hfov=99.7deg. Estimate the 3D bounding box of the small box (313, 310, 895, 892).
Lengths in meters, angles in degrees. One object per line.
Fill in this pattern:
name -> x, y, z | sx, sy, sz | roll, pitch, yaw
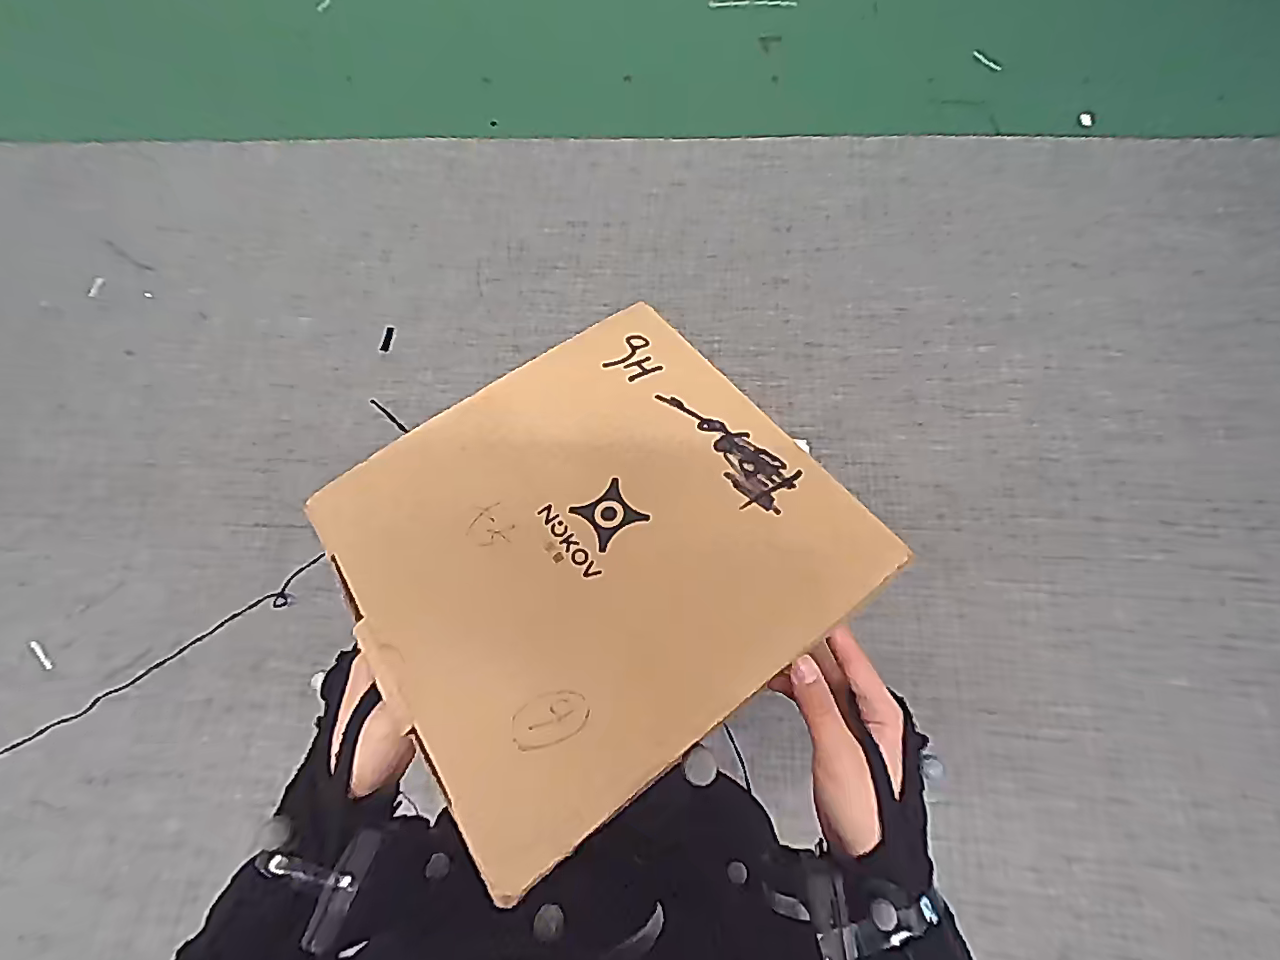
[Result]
small box -> -0.015, 0.058, 0.279 | 0.179, 0.176, 0.168 | -35, 65, -13
